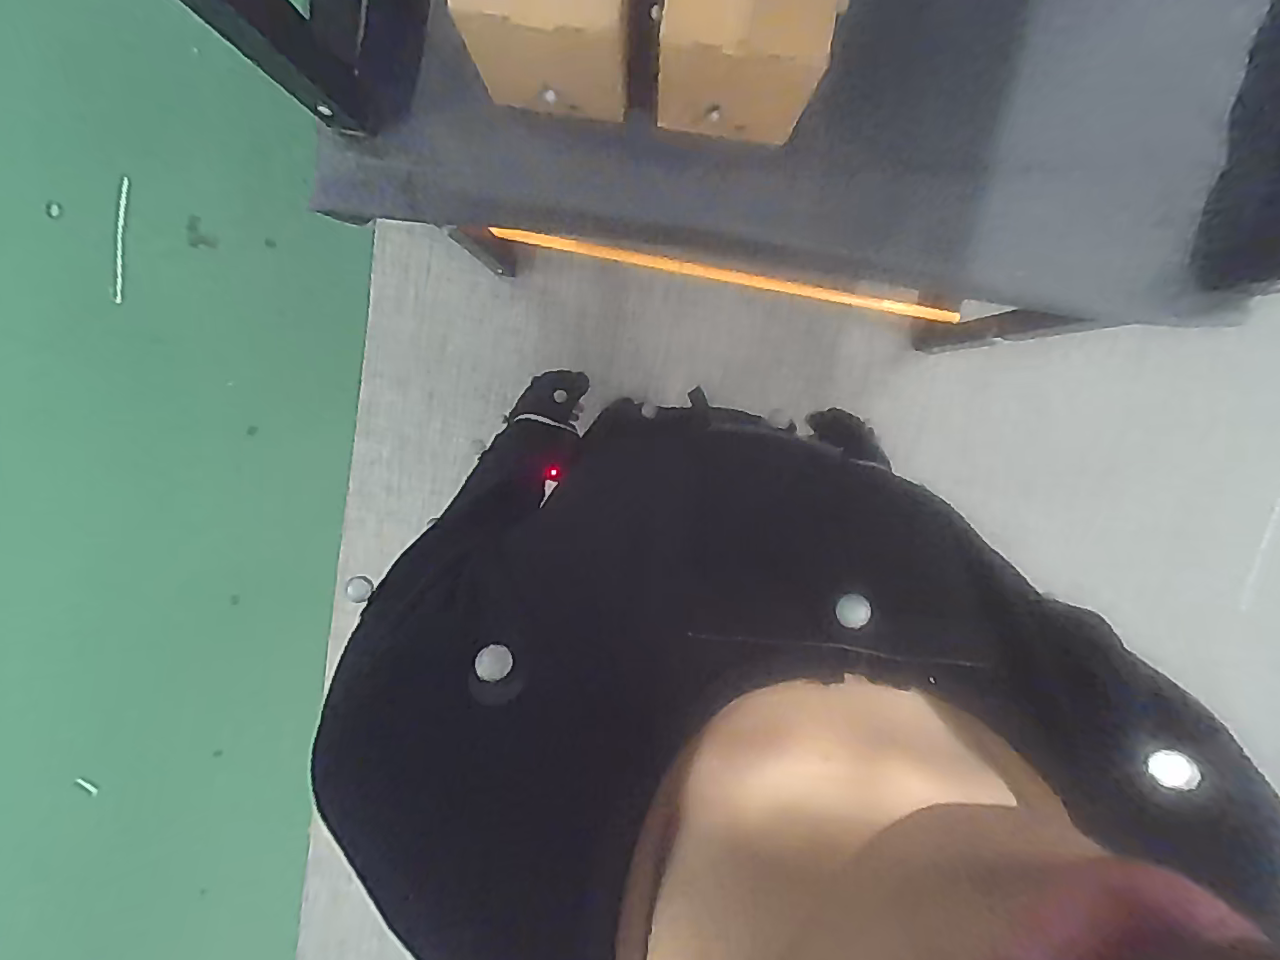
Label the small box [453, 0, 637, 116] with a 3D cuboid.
[{"bbox_3d":[-0.091,-0.538,0.583,0.168,0.176,0.179,8,98,-1],"label":"small box"}]

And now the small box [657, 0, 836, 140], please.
[{"bbox_3d":[0.111,-0.512,0.588,0.168,0.176,0.179,8,98,0],"label":"small box"}]
